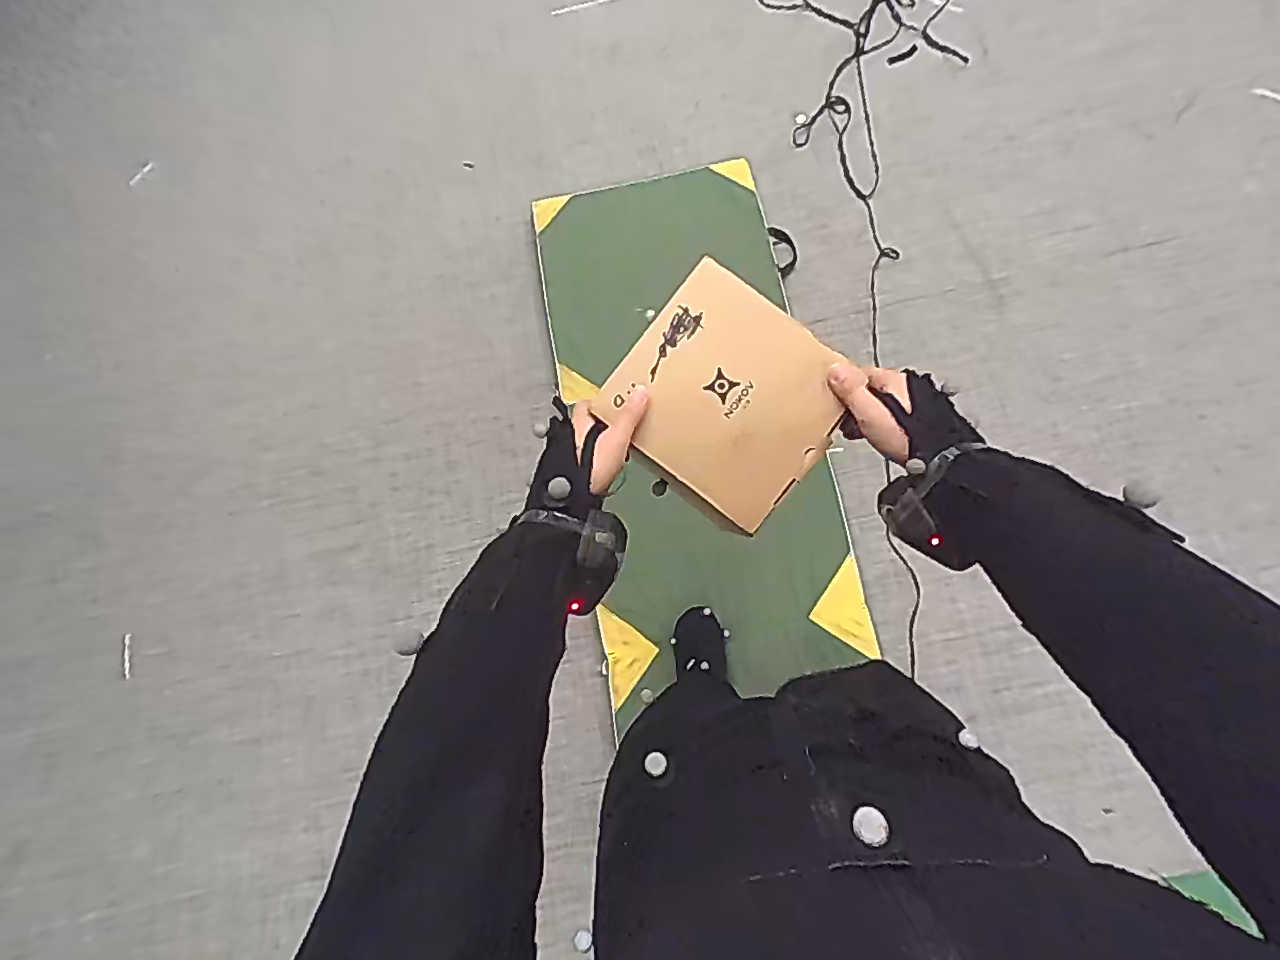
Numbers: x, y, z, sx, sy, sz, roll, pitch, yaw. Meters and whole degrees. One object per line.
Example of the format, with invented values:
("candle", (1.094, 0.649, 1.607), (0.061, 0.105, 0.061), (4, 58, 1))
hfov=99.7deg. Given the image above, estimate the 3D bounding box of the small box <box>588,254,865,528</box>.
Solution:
("small box", (0.073, -0.073, 0.529), (0.179, 0.176, 0.168), (39, 88, 2))
